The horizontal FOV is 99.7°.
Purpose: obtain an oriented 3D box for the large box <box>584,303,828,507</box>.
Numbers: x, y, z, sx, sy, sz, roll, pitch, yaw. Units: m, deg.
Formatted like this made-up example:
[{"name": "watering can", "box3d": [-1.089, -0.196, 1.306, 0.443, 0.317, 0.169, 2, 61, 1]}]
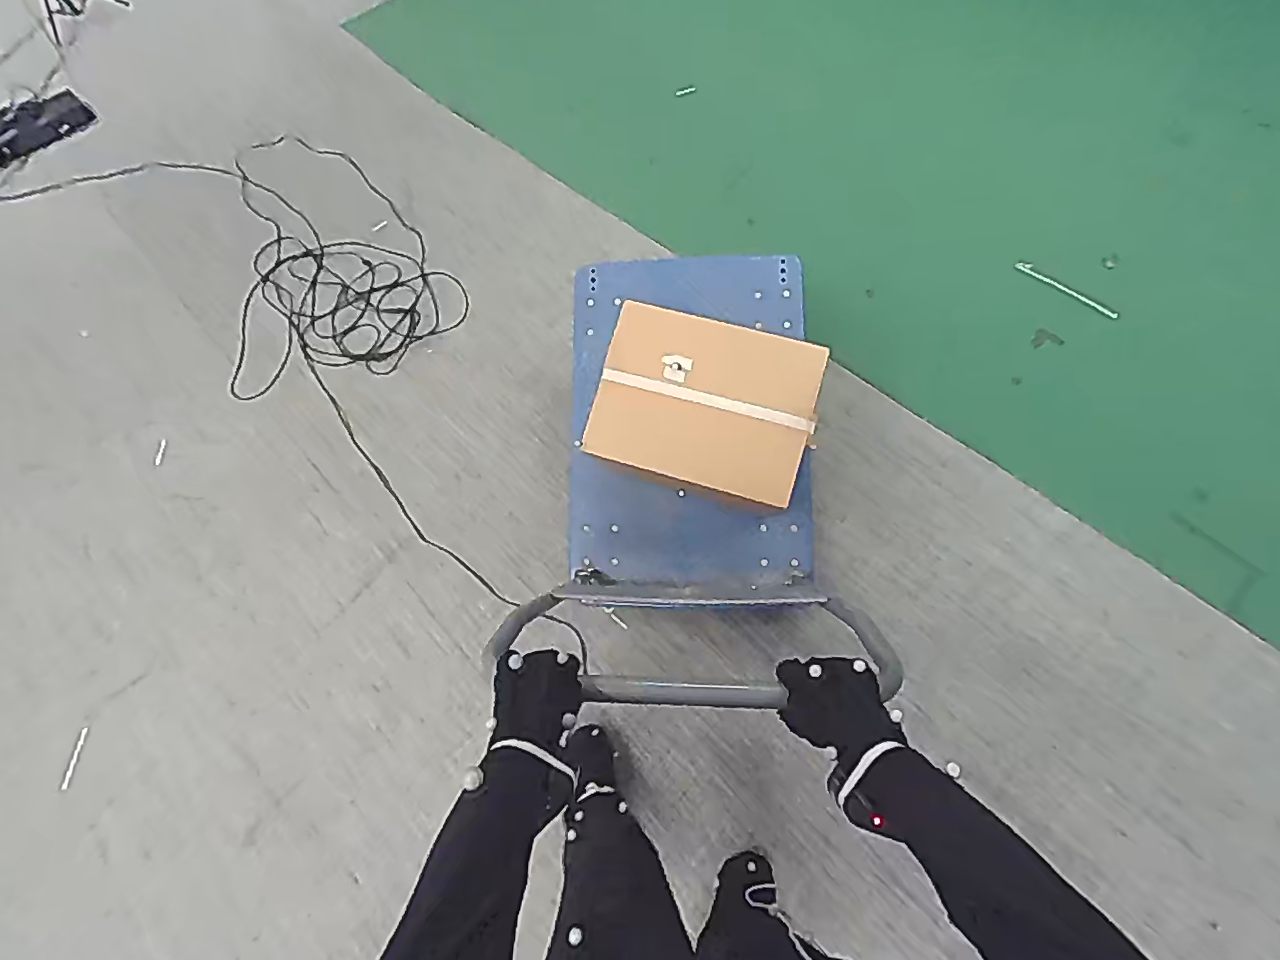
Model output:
[{"name": "large box", "box3d": [0.142, -0.139, 1.161, 0.408, 0.320, 0.320, 15, 86, 9]}]
